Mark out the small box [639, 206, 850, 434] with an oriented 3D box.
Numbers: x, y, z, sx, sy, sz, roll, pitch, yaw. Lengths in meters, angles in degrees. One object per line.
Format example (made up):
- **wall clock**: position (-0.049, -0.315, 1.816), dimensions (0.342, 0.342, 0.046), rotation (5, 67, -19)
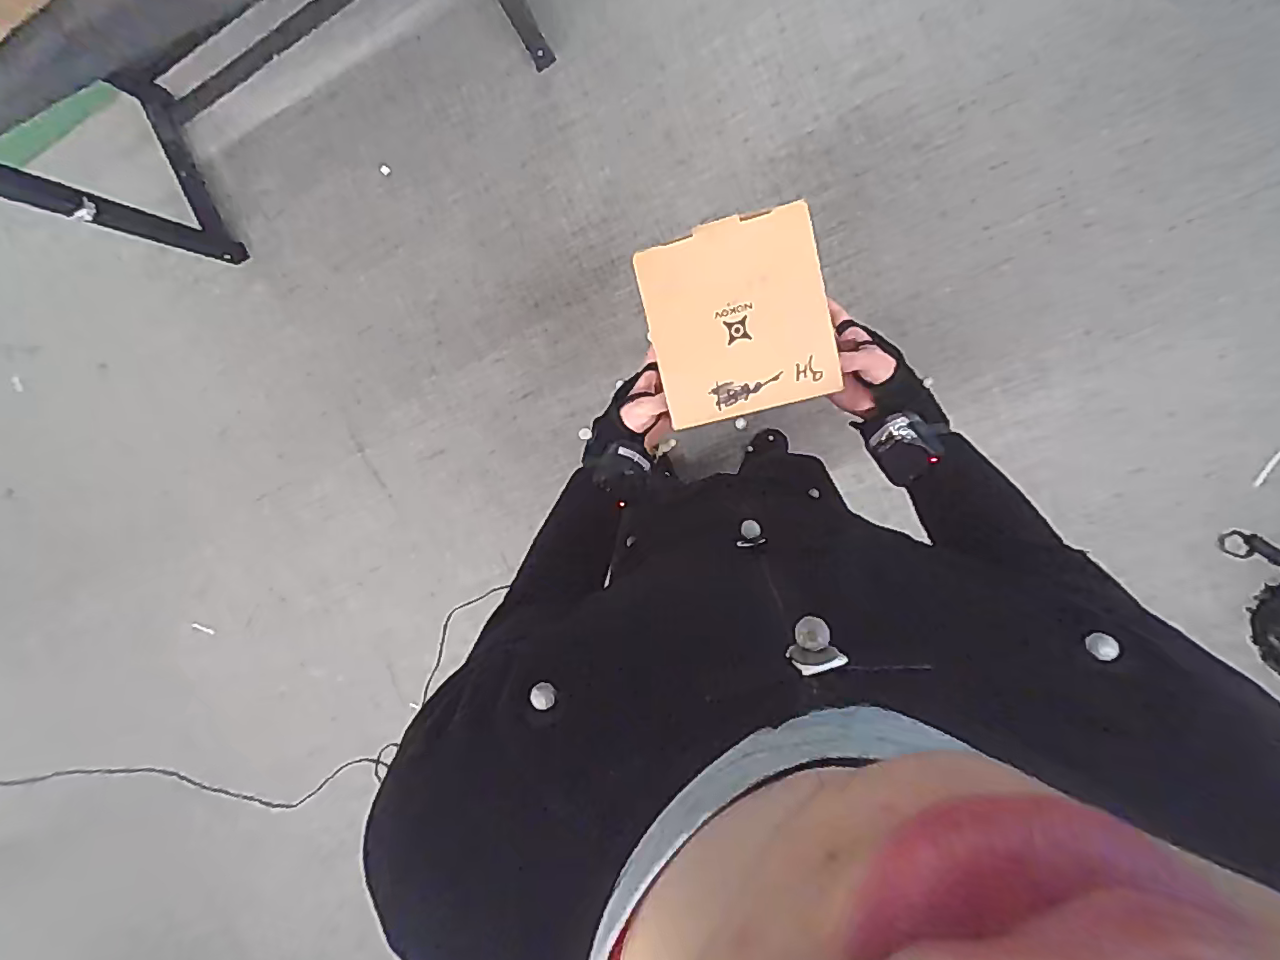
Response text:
- **small box**: position (0.110, -0.157, 0.585), dimensions (0.168, 0.176, 0.179), rotation (-15, 97, 13)
